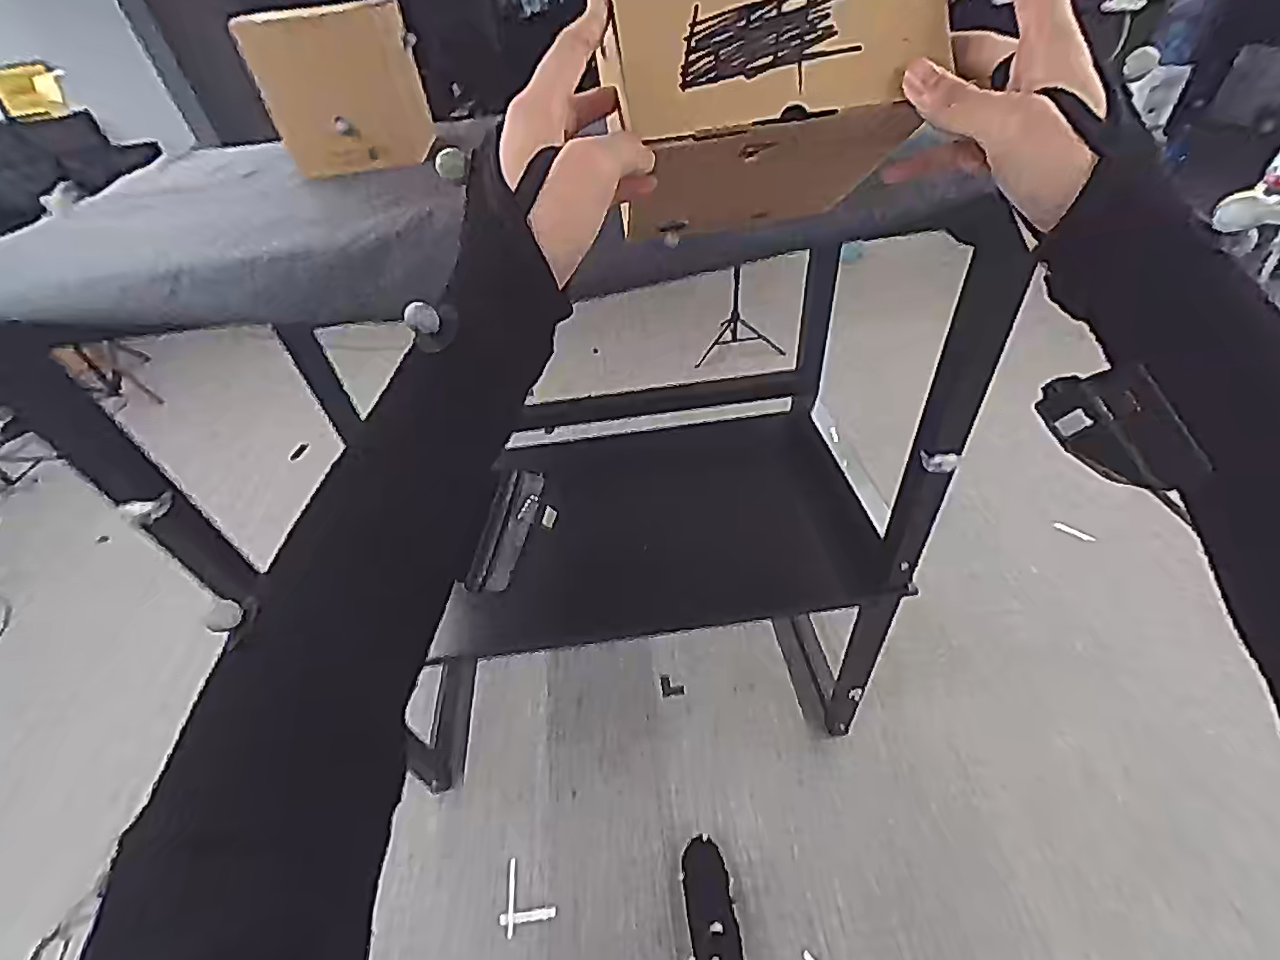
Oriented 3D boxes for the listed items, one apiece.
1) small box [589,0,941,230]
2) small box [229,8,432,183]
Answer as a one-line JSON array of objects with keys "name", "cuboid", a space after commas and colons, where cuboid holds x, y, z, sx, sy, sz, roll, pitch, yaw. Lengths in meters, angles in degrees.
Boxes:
[{"name": "small box", "cuboid": [0.057, -0.278, 0.344, 0.168, 0.179, 0.176, -10, 6, -1]}, {"name": "small box", "cuboid": [-0.400, -0.526, 0.741, 0.168, 0.176, 0.179, -10, 44, -3]}]
